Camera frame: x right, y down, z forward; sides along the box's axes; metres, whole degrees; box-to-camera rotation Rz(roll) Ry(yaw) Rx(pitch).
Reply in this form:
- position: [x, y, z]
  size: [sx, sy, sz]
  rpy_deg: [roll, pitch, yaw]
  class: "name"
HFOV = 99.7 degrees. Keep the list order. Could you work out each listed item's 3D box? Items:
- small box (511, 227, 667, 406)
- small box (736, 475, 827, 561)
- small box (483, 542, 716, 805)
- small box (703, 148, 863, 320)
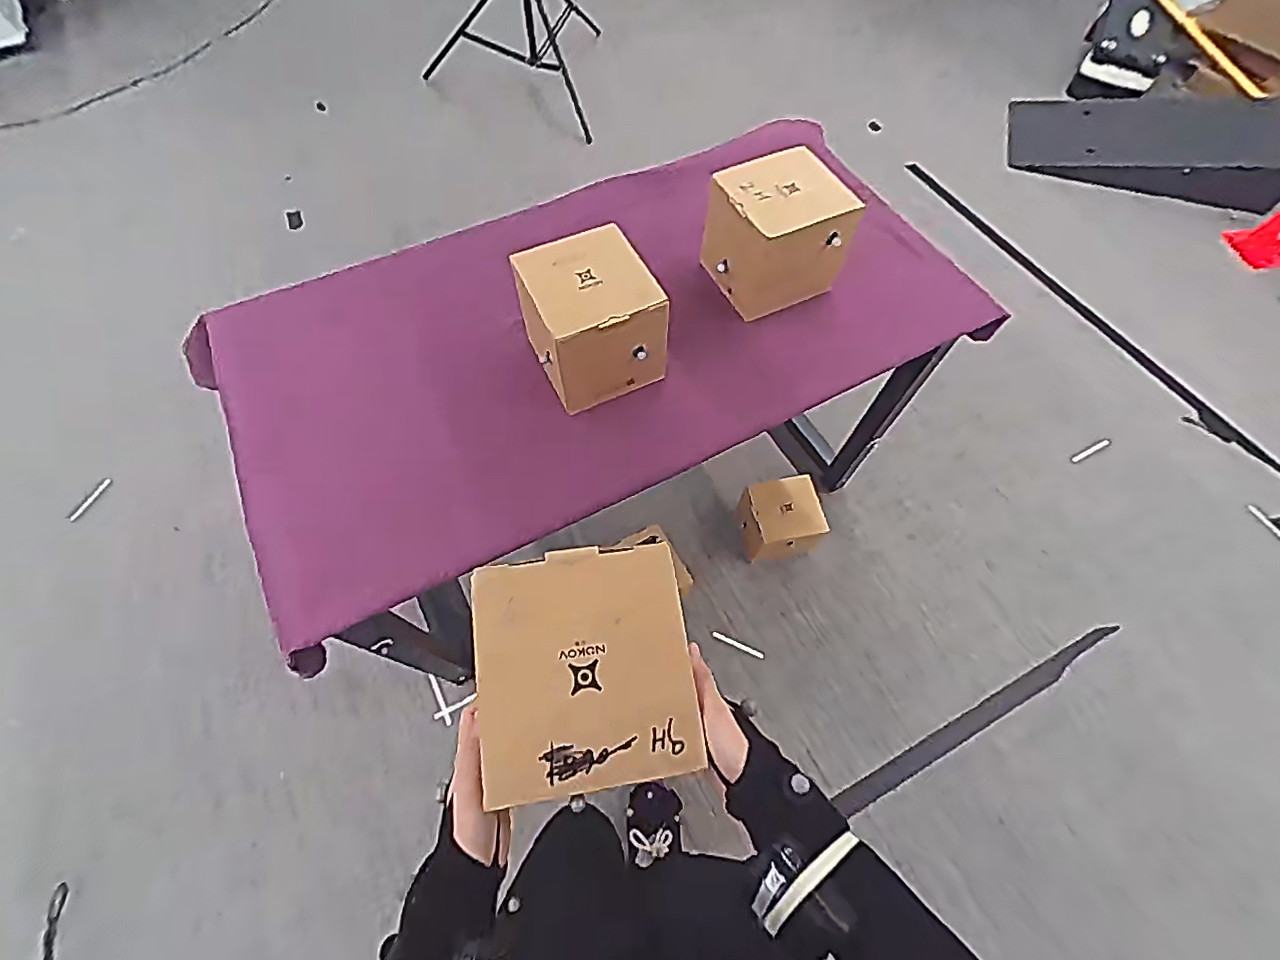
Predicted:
- position: [-0.072, -0.232, 0.805]
  size: [0.168, 0.176, 0.179]
  rpy_deg: [-24, 64, -13]
  class: "small box"
- position: [0.373, 0.107, 1.458]
  size: [0.179, 0.176, 0.168]
  rpy_deg: [-10, 65, -5]
  class: "small box"
- position: [-0.041, 0.169, 0.491]
  size: [0.168, 0.176, 0.179]
  rpy_deg: [-7, 70, -6]
  class: "small box"
- position: [0.222, -0.400, 0.891]
  size: [0.179, 0.176, 0.168]
  rpy_deg: [-24, 65, -12]
  class: "small box"
